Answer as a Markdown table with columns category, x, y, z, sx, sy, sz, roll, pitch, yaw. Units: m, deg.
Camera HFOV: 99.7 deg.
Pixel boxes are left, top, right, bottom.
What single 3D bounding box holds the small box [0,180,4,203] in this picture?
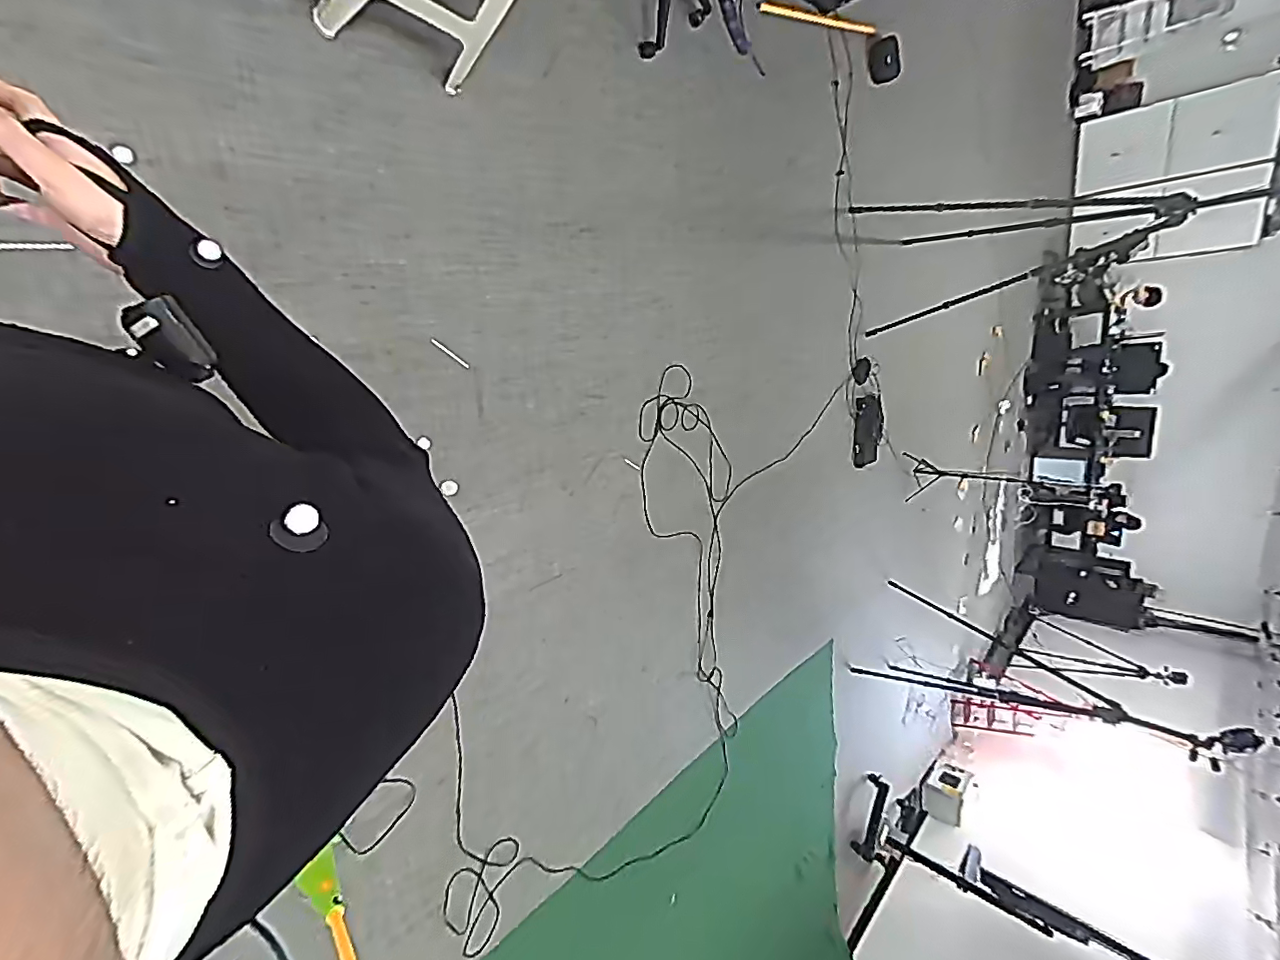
| category | x | y | z | sx | sy | sz | roll | pitch | yaw |
| --- | --- | --- | --- | --- | --- | --- | --- | --- | --- |
| small box | -0.527 | -0.277 | 0.315 | 0.168 | 0.176 | 0.179 | -18 | 110 | -42 |
